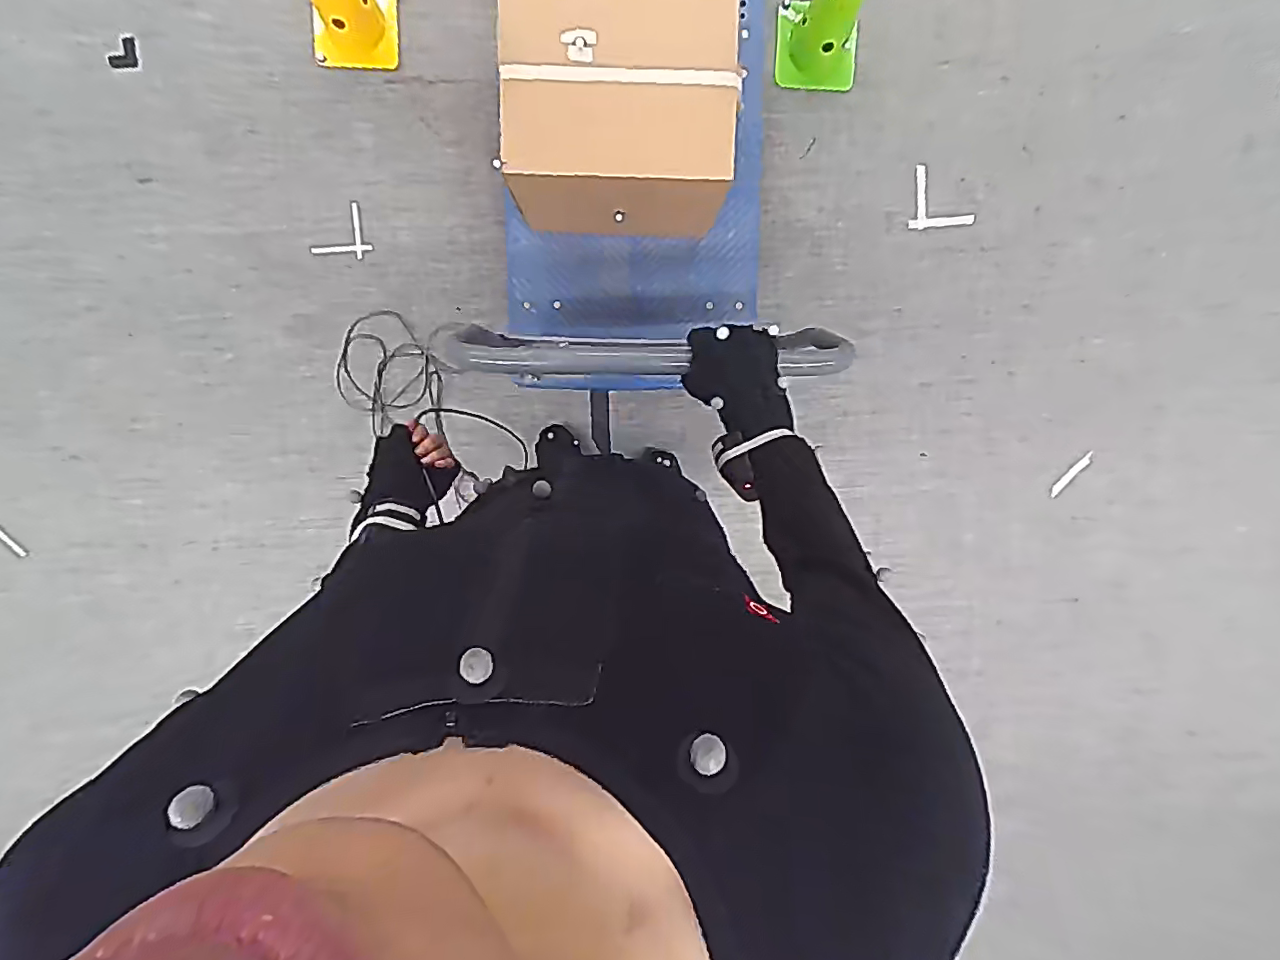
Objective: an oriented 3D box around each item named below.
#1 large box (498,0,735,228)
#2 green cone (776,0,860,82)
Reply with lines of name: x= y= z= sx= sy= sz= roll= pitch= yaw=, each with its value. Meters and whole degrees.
large box: x=-0.040 y=-0.702 z=1.064 sx=0.408 sy=0.320 sz=0.320 roll=1 pitch=97 yaw=-1
green cone: x=0.449 y=-1.083 z=1.177 sx=0.202 sy=0.368 sz=0.200 roll=1 pitch=97 yaw=-3
